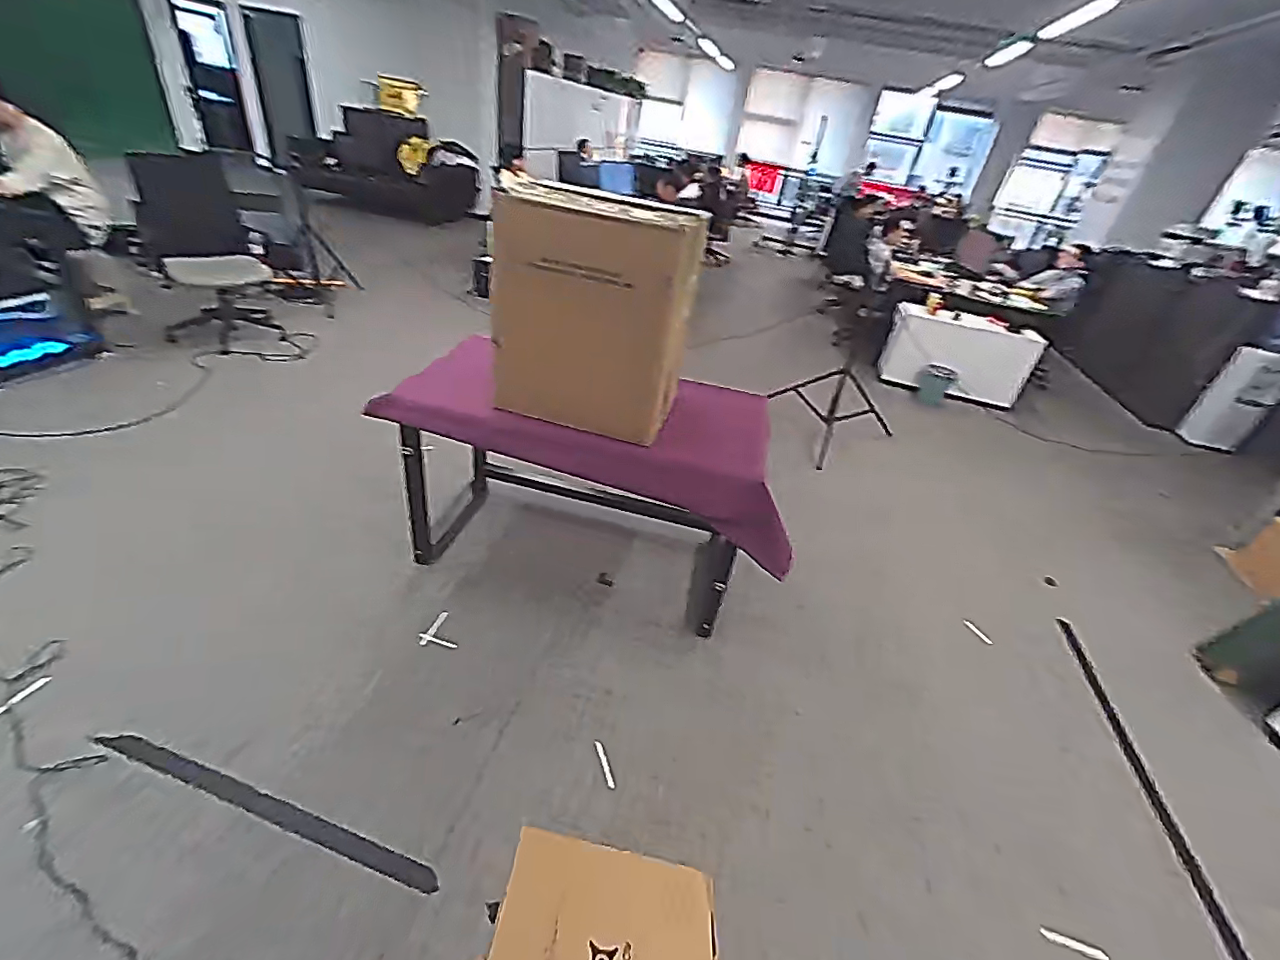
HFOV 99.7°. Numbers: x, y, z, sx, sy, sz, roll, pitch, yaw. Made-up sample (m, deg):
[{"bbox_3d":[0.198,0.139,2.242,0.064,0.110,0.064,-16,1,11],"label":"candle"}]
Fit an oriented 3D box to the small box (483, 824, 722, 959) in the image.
[{"bbox_3d":[-0.042,0.420,0.428,0.179,0.176,0.168,15,24,-4],"label":"small box"}]
